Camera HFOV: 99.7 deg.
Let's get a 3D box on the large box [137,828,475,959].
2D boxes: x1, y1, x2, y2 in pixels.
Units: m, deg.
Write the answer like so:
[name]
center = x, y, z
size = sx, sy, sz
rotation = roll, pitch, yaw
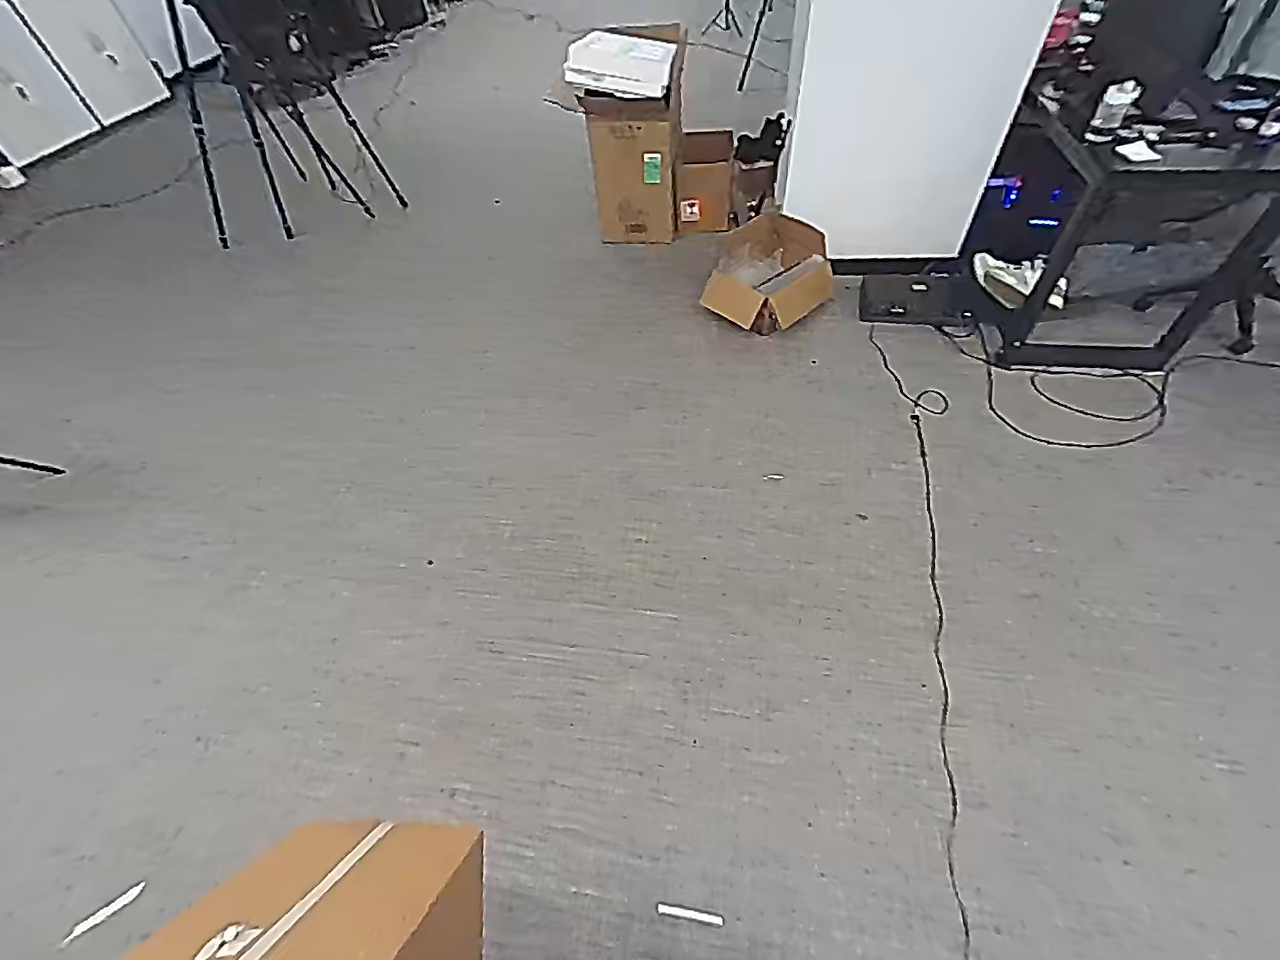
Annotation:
[large box]
center = -0.429, 0.712, 0.678
size = 0.320, 0.408, 0.320
rotation = -2, 85, 5
